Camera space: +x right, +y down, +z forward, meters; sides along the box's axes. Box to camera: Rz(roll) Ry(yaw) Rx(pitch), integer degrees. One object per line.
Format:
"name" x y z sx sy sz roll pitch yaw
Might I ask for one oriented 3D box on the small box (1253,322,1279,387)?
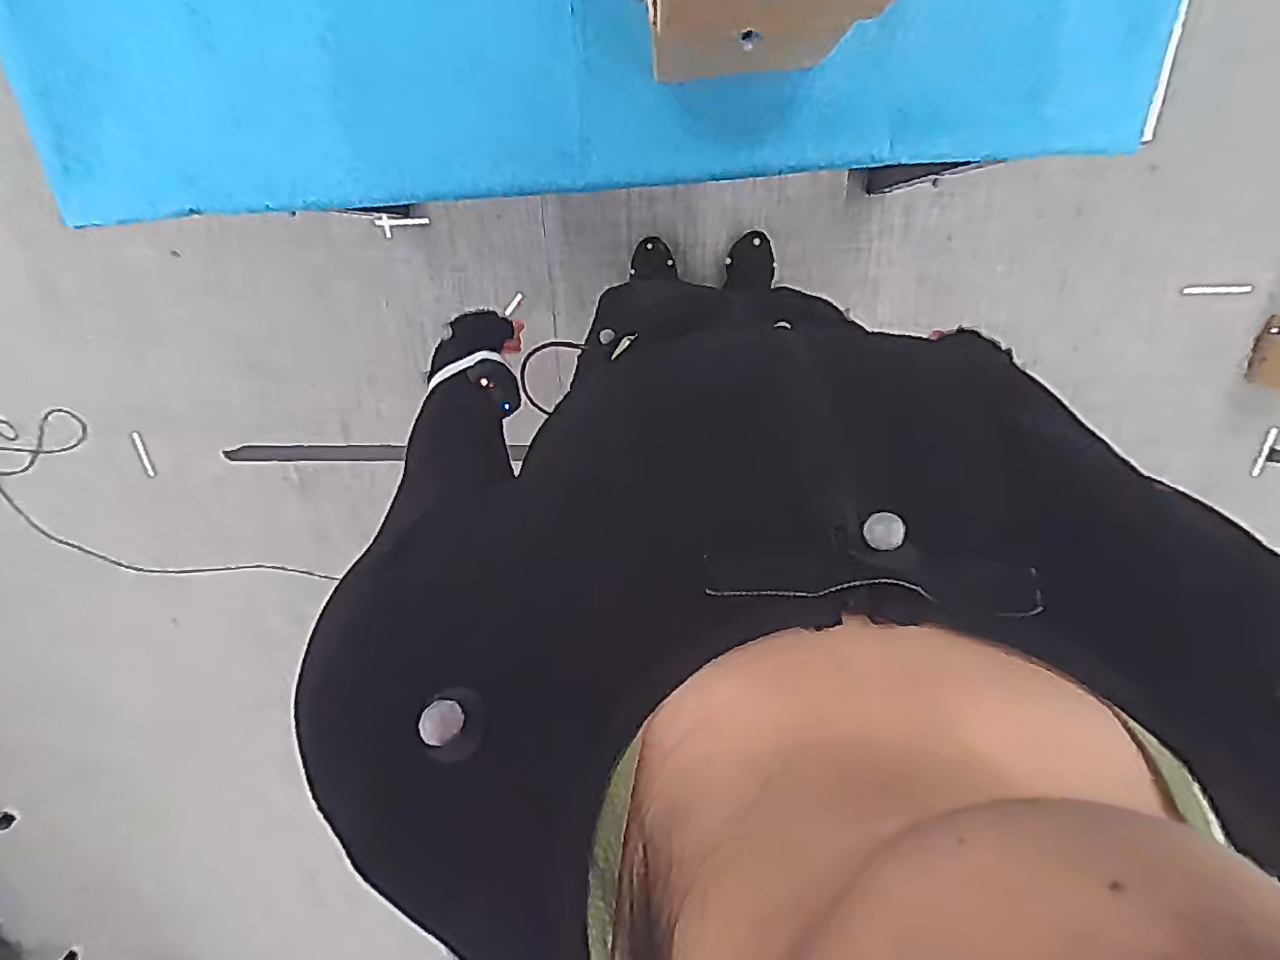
"small box" 1.595 -0.291 1.236 0.179 0.176 0.168 -2 114 4

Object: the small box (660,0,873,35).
"small box" 0.091 -0.399 0.320 0.179 0.176 0.168 -5 113 5

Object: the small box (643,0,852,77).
"small box" 0.092 -0.471 0.466 0.179 0.176 0.168 -1 114 4
